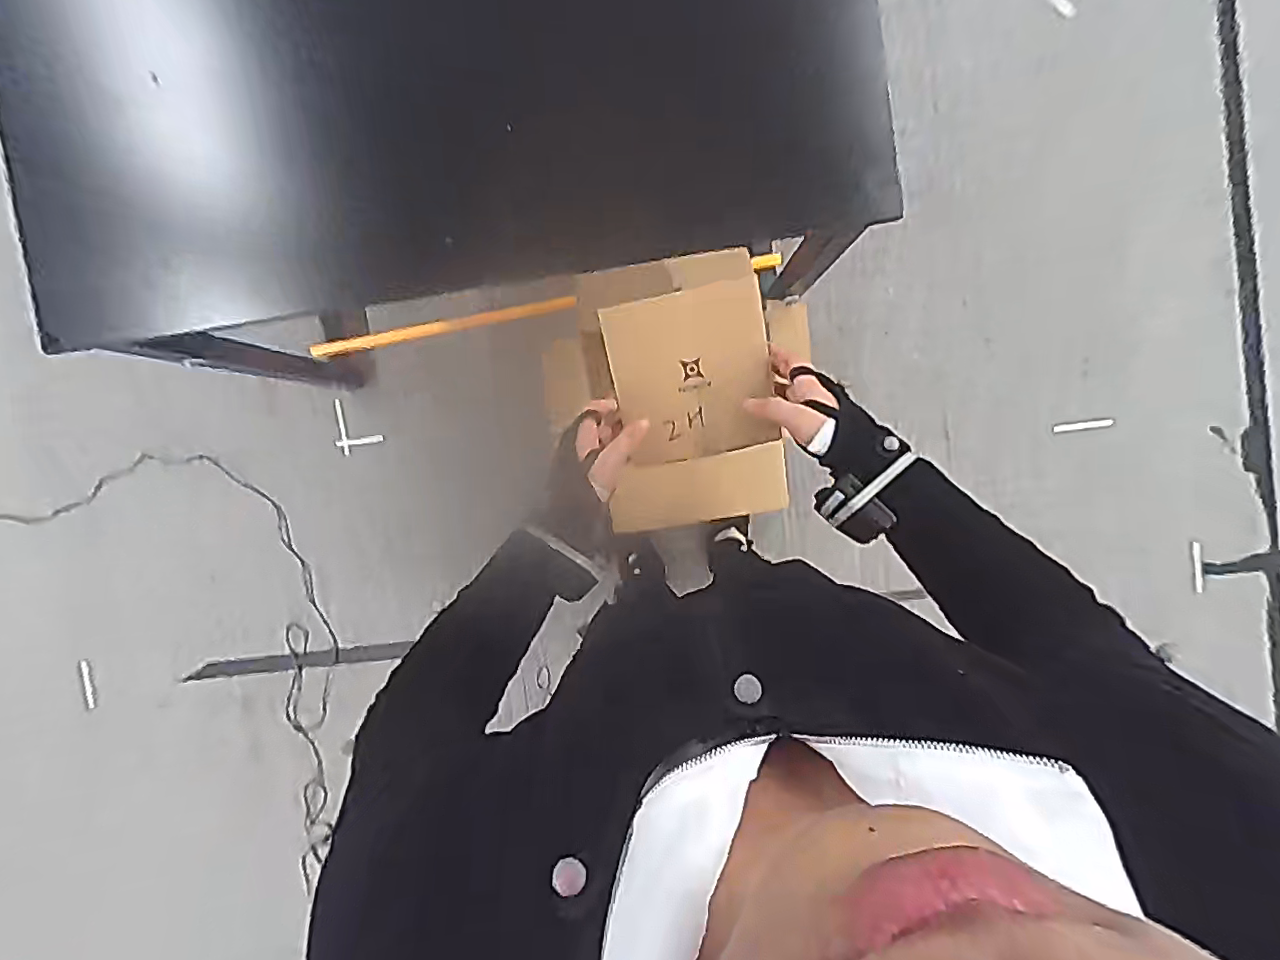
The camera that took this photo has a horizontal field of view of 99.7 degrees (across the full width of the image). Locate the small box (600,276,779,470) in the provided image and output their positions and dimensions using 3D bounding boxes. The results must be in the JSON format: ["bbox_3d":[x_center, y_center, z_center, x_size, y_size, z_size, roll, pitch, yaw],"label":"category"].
[{"bbox_3d":[0.053,-0.128,0.637,0.168,0.176,0.179,-11,107,4],"label":"small box"}]
